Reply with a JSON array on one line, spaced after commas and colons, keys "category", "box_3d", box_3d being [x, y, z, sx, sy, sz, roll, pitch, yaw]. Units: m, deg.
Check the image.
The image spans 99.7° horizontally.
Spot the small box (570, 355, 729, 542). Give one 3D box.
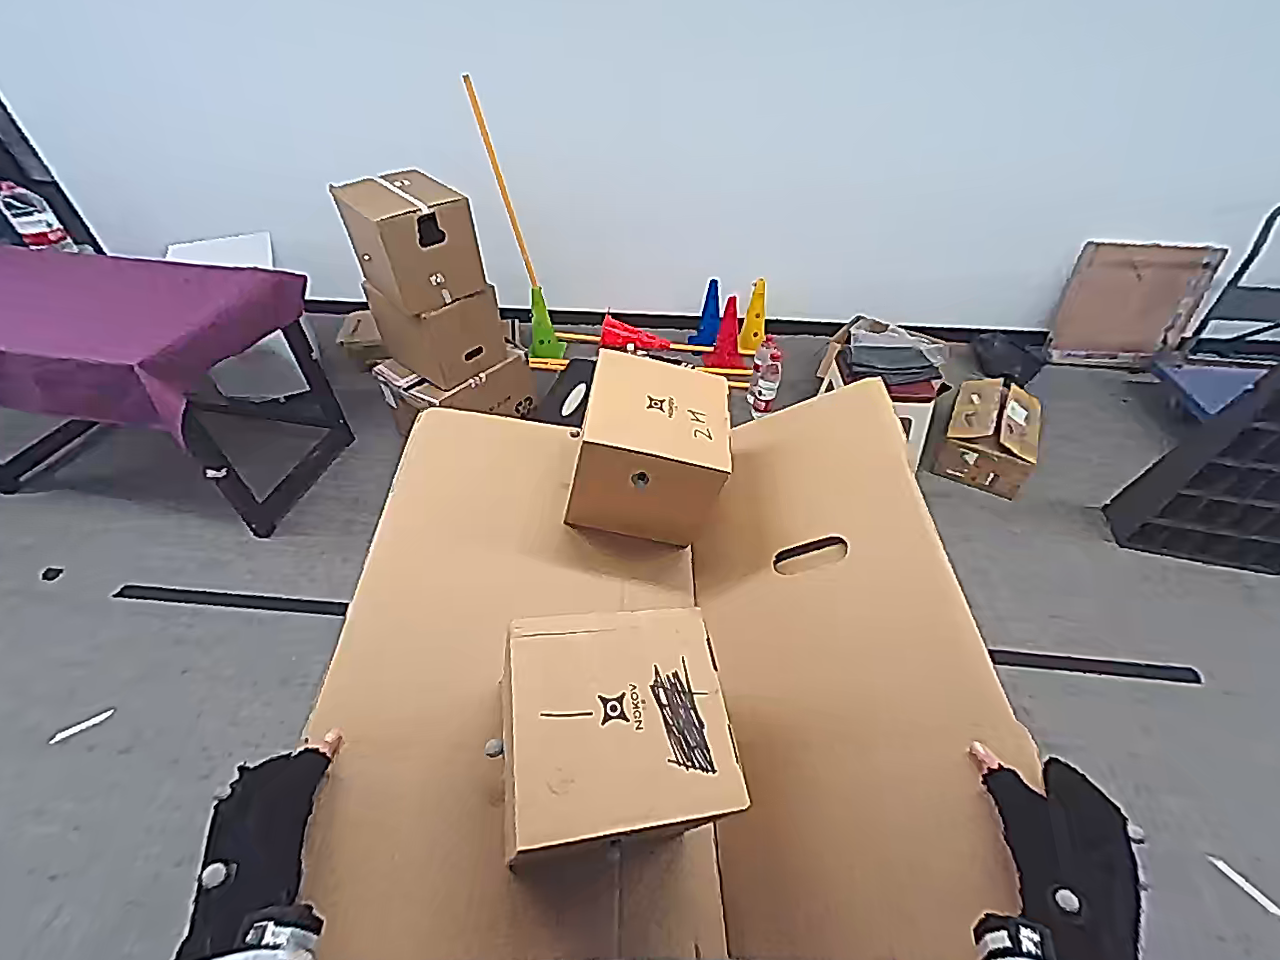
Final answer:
[{"category": "small box", "box_3d": [0.009, -0.036, 0.727, 0.179, 0.176, 0.168, 13, 51, -7]}]

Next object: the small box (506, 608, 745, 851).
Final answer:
[{"category": "small box", "box_3d": [-0.031, 0.232, 0.505, 0.179, 0.176, 0.168, 1, 53, -16]}]
